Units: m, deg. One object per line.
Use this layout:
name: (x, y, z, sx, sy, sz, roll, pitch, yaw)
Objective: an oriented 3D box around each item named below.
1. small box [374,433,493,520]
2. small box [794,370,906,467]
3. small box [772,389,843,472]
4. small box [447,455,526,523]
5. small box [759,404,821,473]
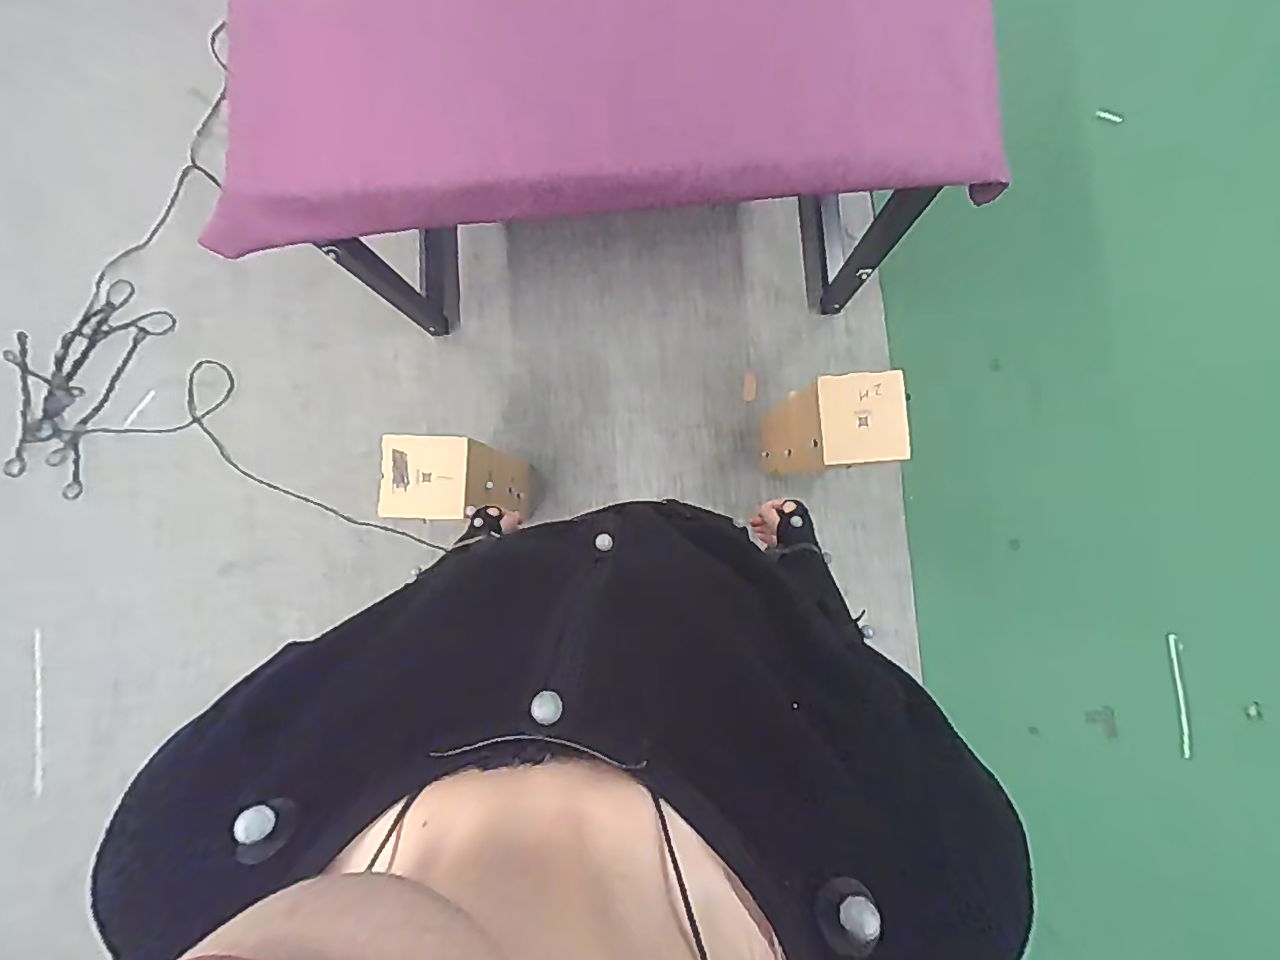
small box: (-0.426, -0.002, 1.136, 0.179, 0.176, 0.168, 2, 86, 2)
small box: (0.424, -0.118, 1.114, 0.168, 0.176, 0.179, -3, 87, 1)
small box: (0.415, -0.117, 1.280, 0.168, 0.176, 0.179, -5, 87, 2)
small box: (-0.409, 0.026, 1.464, 0.168, 0.176, 0.179, 0, 87, 2)
small box: (0.416, -0.109, 1.441, 0.179, 0.176, 0.168, -2, 86, 2)
